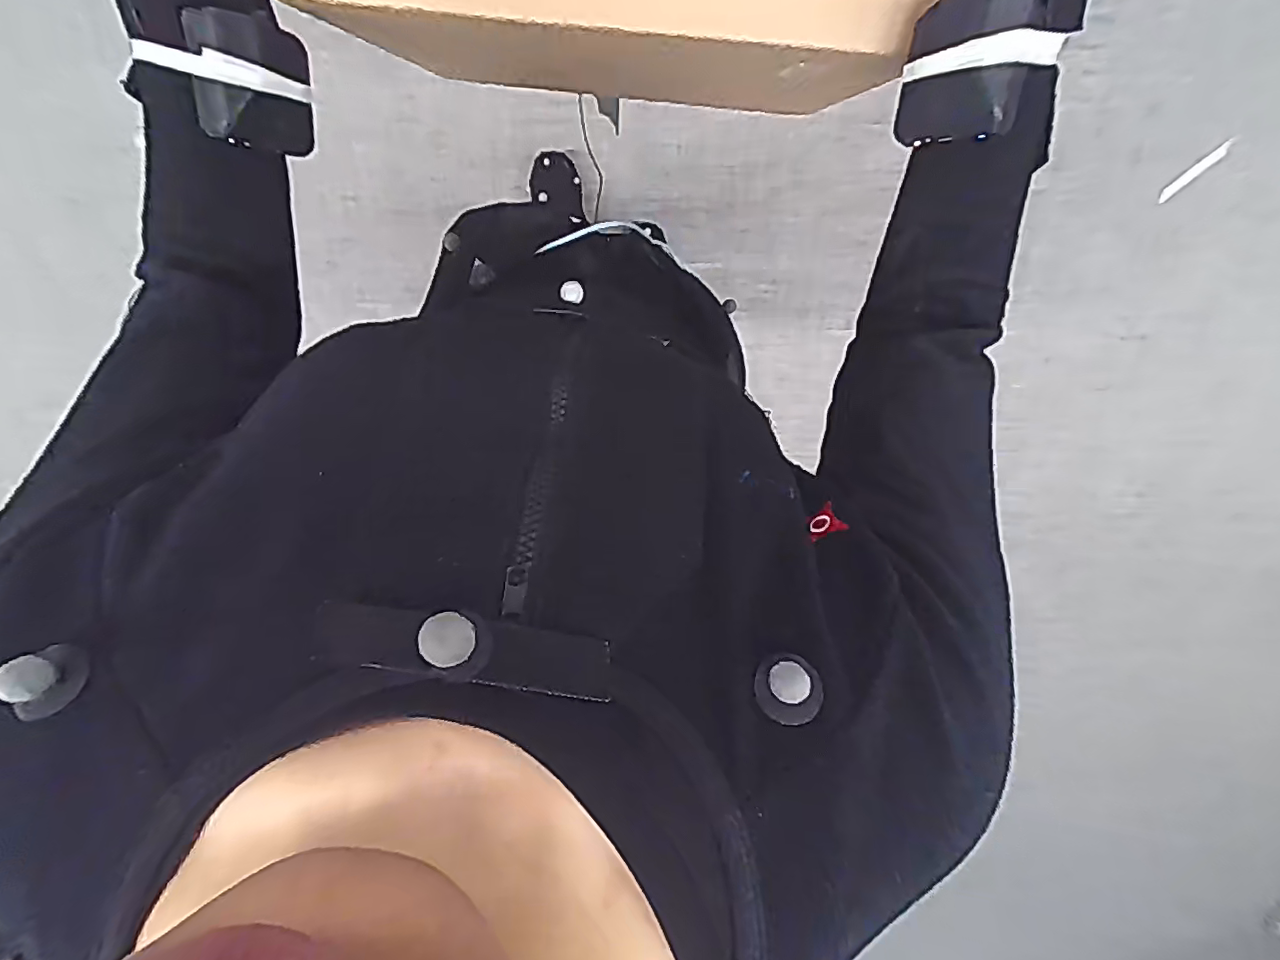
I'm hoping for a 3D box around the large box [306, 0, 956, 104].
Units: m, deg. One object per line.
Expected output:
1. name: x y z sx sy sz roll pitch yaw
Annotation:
1. large box: -0.004 -0.480 0.380 0.408 0.320 0.320 4 120 -2
